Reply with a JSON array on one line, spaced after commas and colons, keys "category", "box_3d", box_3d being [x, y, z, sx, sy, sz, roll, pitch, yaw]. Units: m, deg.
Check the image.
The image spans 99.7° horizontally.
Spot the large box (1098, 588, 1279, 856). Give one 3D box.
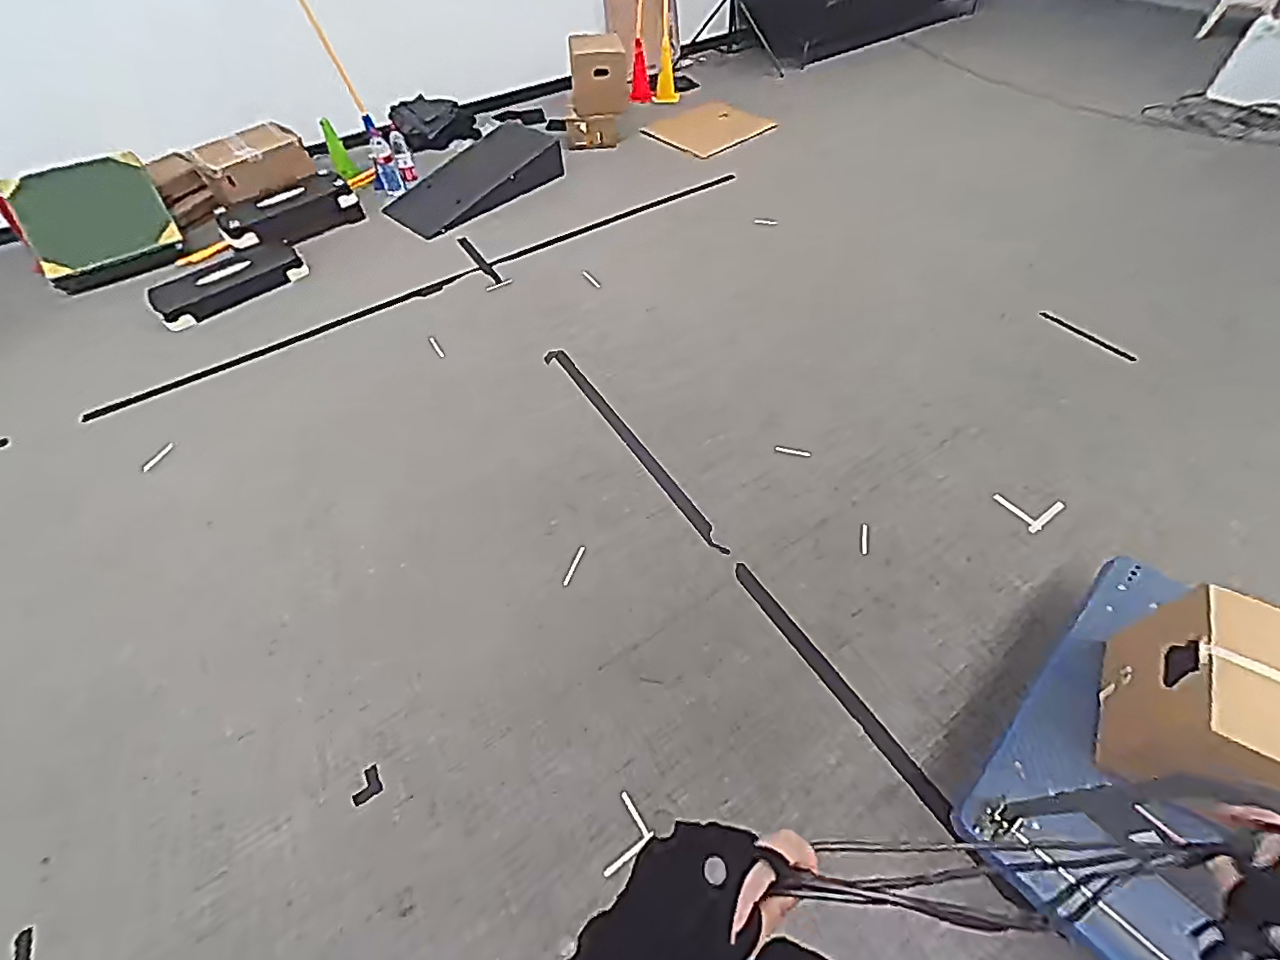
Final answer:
[{"category": "large box", "box_3d": [1.180, 0.473, 1.013, 0.408, 0.320, 0.320, 24, 58, 19]}]
